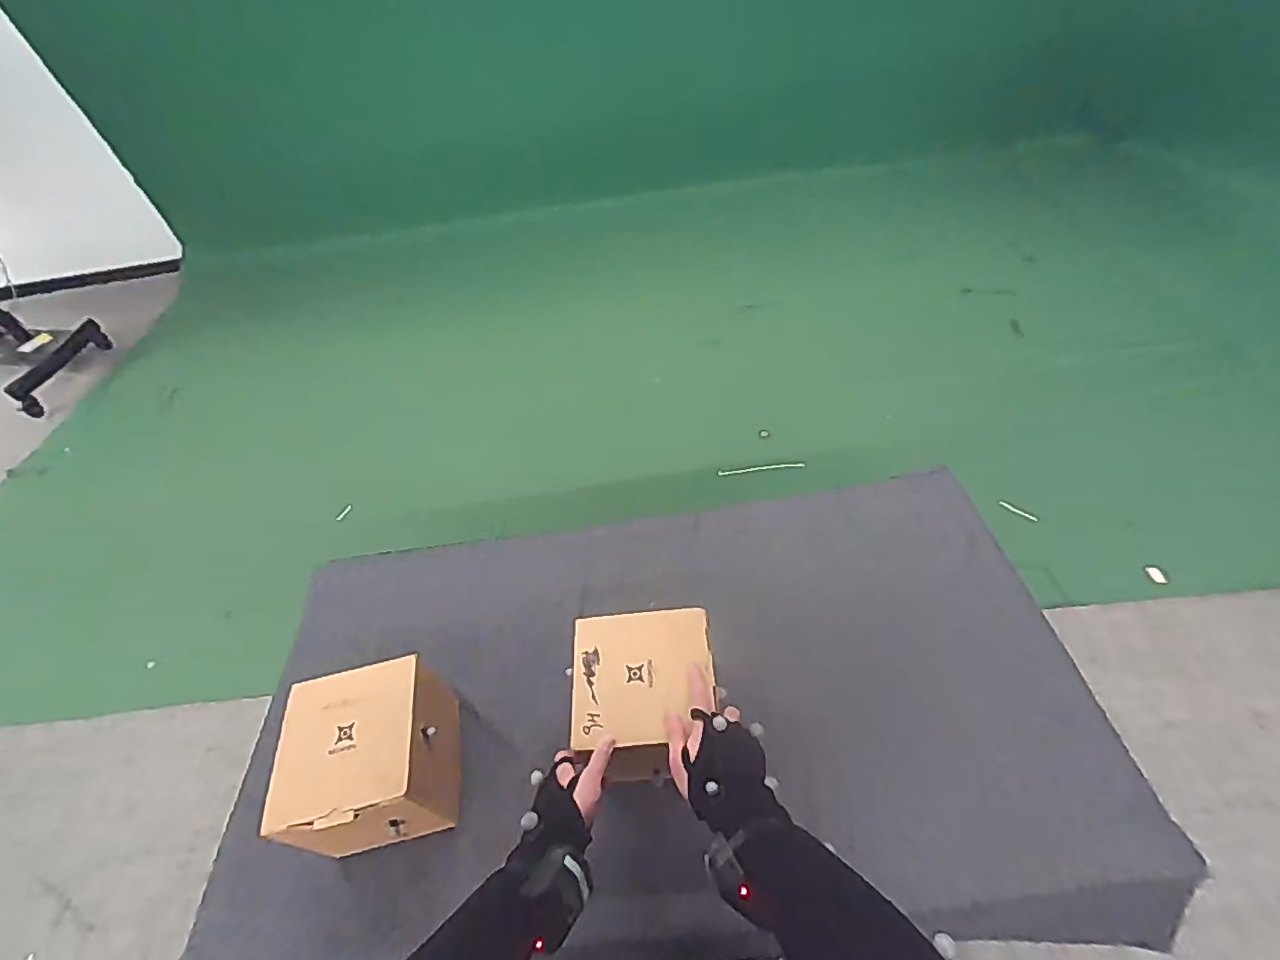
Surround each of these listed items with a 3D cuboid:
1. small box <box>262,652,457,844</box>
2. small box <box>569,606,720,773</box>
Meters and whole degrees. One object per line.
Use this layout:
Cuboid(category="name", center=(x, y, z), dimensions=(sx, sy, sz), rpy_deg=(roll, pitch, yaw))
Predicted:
Cuboid(category="small box", center=(-0.353, 0.363, 0.721), dimensions=(0.168, 0.176, 0.179), rpy_deg=(-13, 47, -4))
Cuboid(category="small box", center=(0.009, 0.286, 0.729), dimensions=(0.179, 0.176, 0.168), rpy_deg=(-5, 50, 3))
